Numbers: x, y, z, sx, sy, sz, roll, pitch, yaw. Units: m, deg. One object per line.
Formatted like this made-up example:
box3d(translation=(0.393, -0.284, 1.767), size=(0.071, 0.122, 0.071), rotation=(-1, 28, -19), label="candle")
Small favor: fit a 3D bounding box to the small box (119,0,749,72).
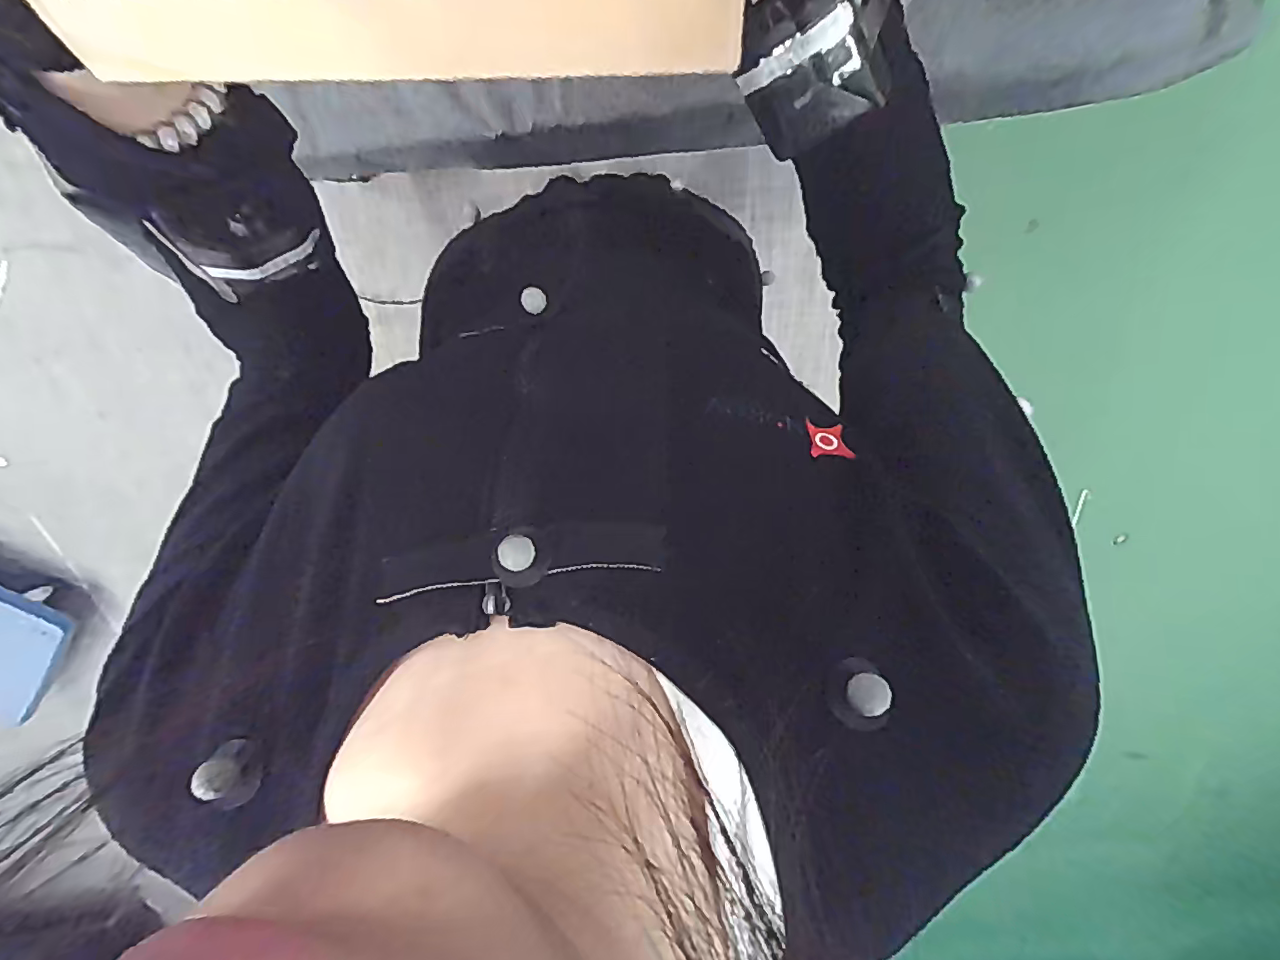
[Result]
box3d(translation=(-0.052, -0.218, 0.111), size=(0.168, 0.179, 0.176), rotation=(3, 148, 6), label="small box")
